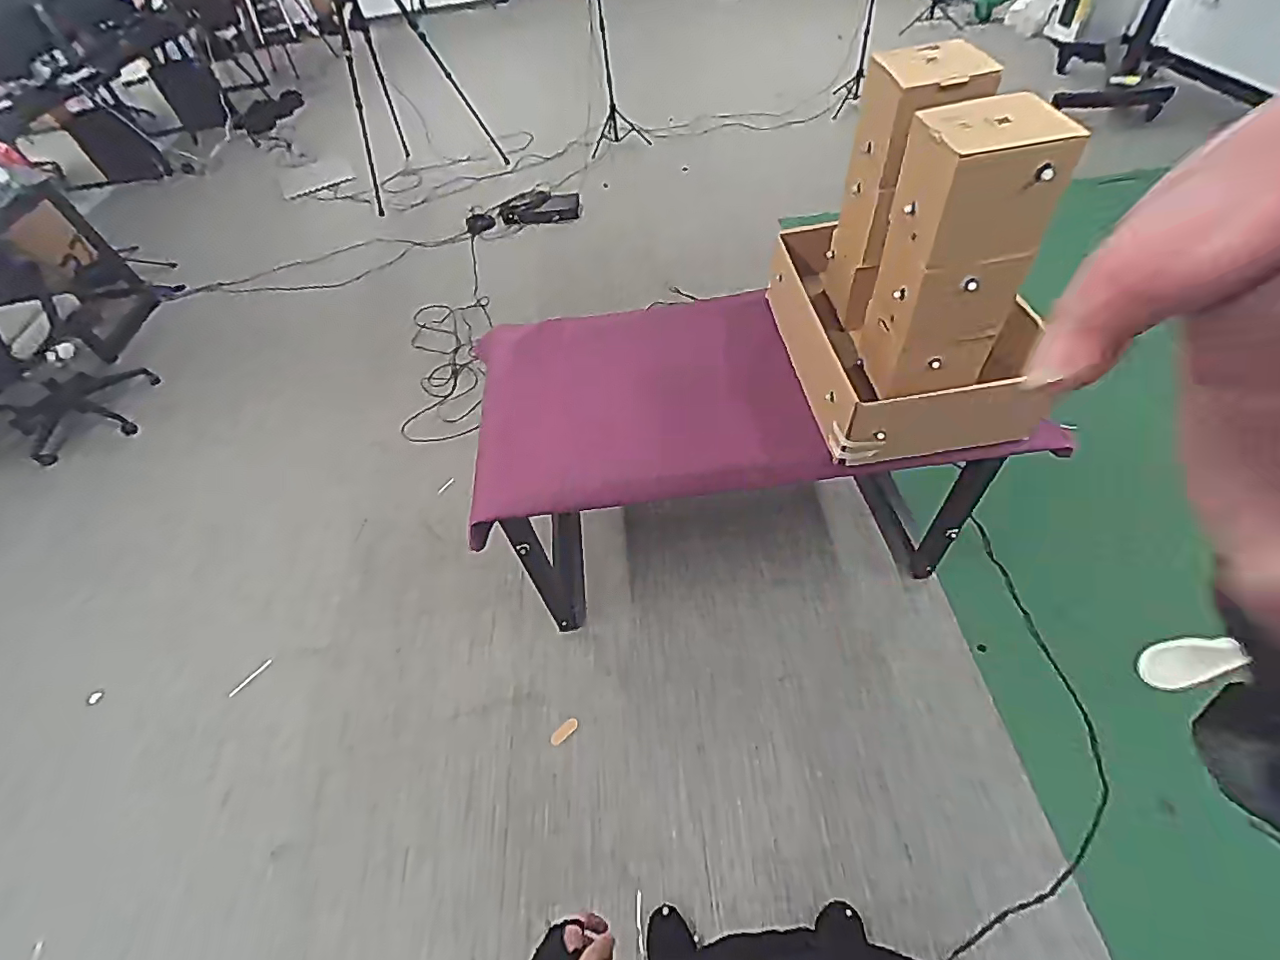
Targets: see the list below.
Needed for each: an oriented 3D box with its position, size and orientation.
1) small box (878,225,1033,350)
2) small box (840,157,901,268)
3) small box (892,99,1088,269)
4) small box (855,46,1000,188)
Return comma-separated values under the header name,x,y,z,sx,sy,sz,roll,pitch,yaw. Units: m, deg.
name,x,y,z,sx,sy,sz,roll,pitch,yaw
small box,0.543,-0.352,0.968,0.179,0.176,0.168,-6,52,4
small box,0.535,-0.563,1.132,0.168,0.176,0.179,-7,53,3
small box,0.522,-0.454,0.840,0.179,0.176,0.168,-7,52,4
small box,0.517,-0.663,1.002,0.168,0.176,0.179,-6,54,3
